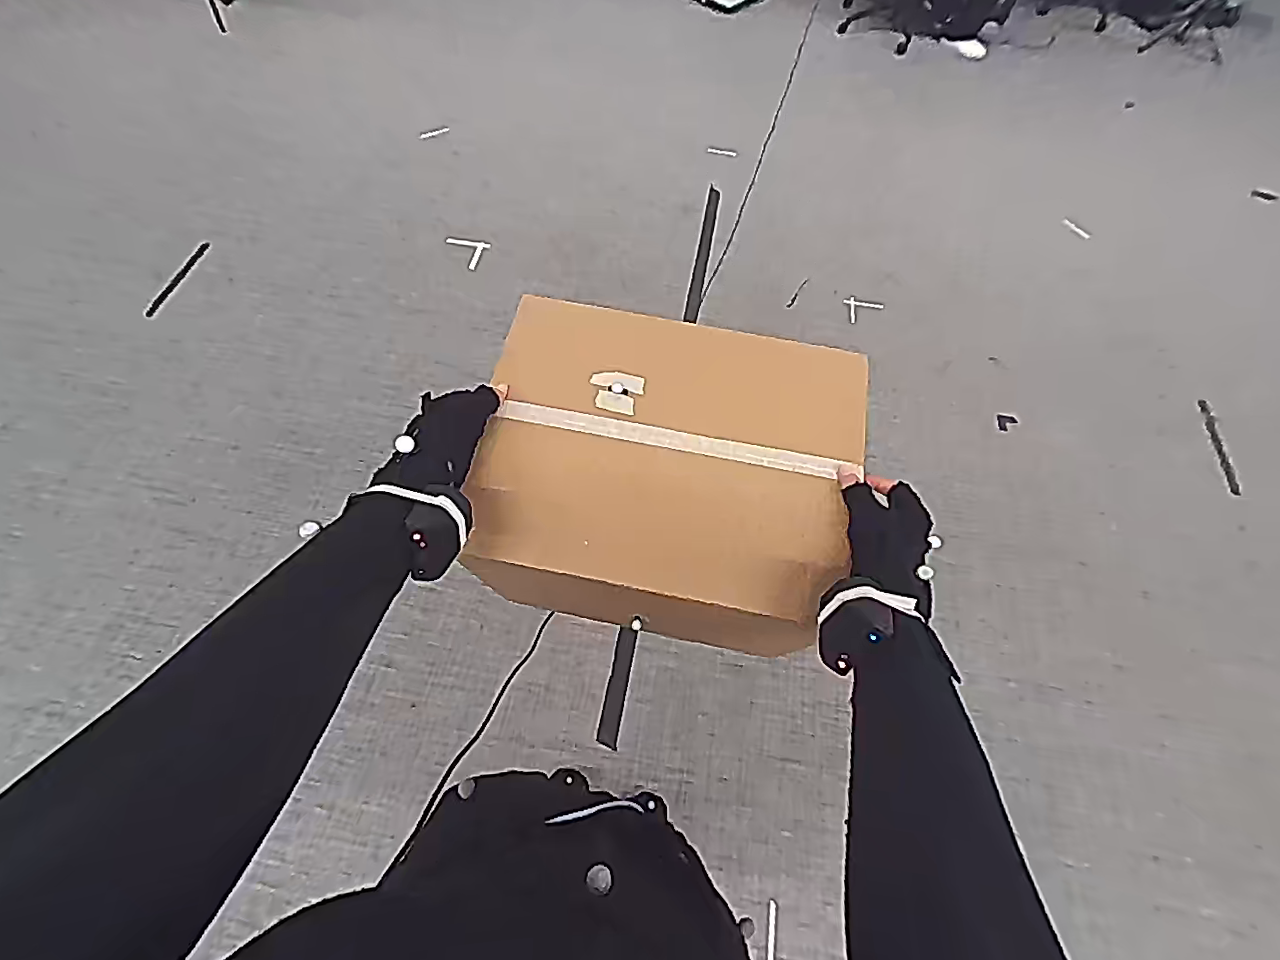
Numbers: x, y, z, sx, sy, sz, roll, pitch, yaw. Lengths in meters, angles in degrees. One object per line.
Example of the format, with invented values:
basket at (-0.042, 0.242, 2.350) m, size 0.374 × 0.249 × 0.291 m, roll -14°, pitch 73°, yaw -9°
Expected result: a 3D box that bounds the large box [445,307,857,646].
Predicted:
large box at (0.030, 0.019, 0.717) m, size 0.408 × 0.320 × 0.320 m, roll 11°, pitch 67°, yaw 5°
